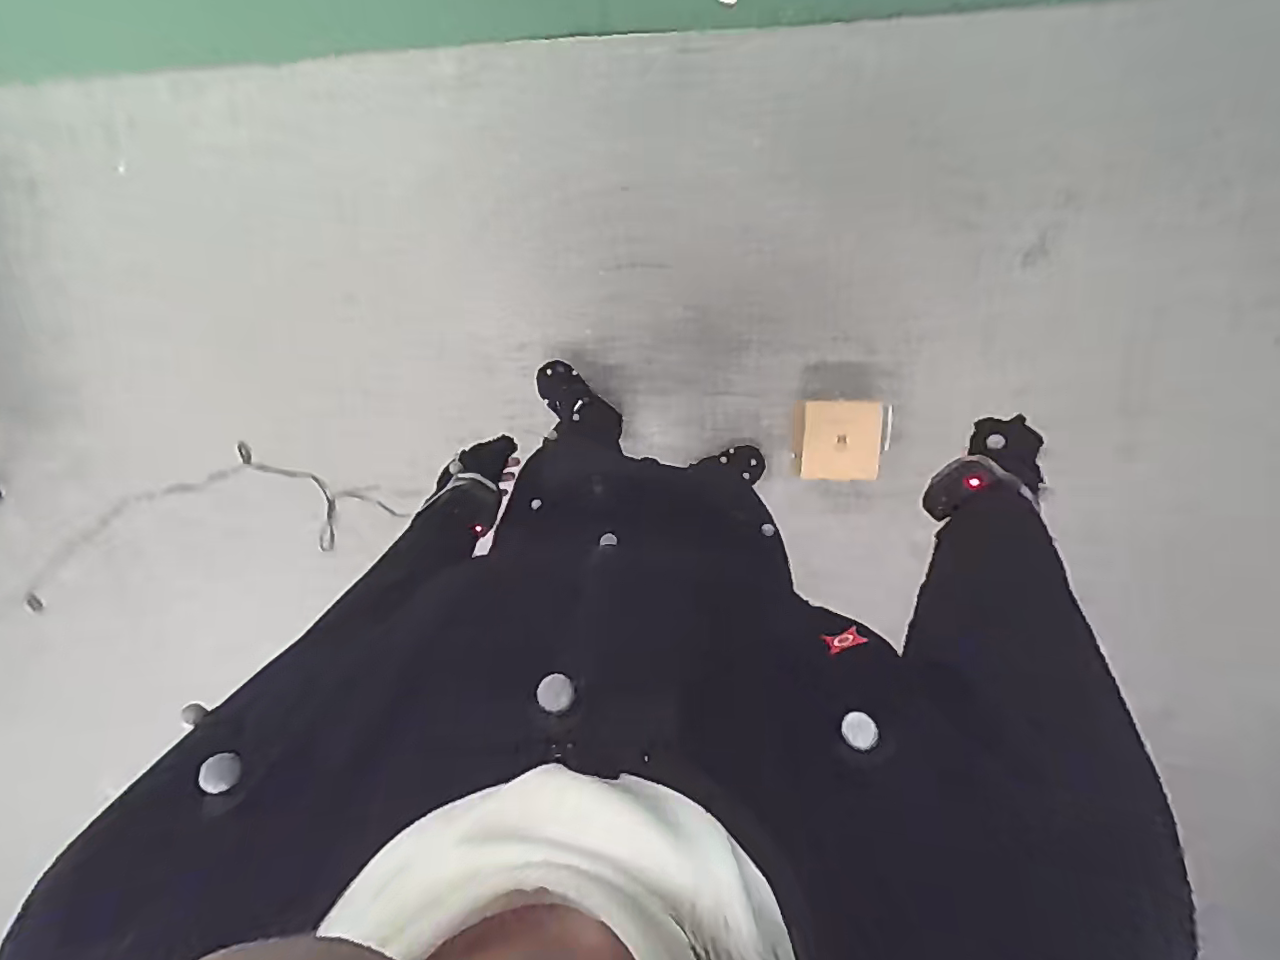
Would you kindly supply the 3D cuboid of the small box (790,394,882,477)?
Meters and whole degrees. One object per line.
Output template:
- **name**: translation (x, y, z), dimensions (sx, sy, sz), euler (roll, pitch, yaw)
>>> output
- **small box**: translation (0.452, -0.110, 1.272), dimensions (0.168, 0.176, 0.179), euler (2, 101, 7)
